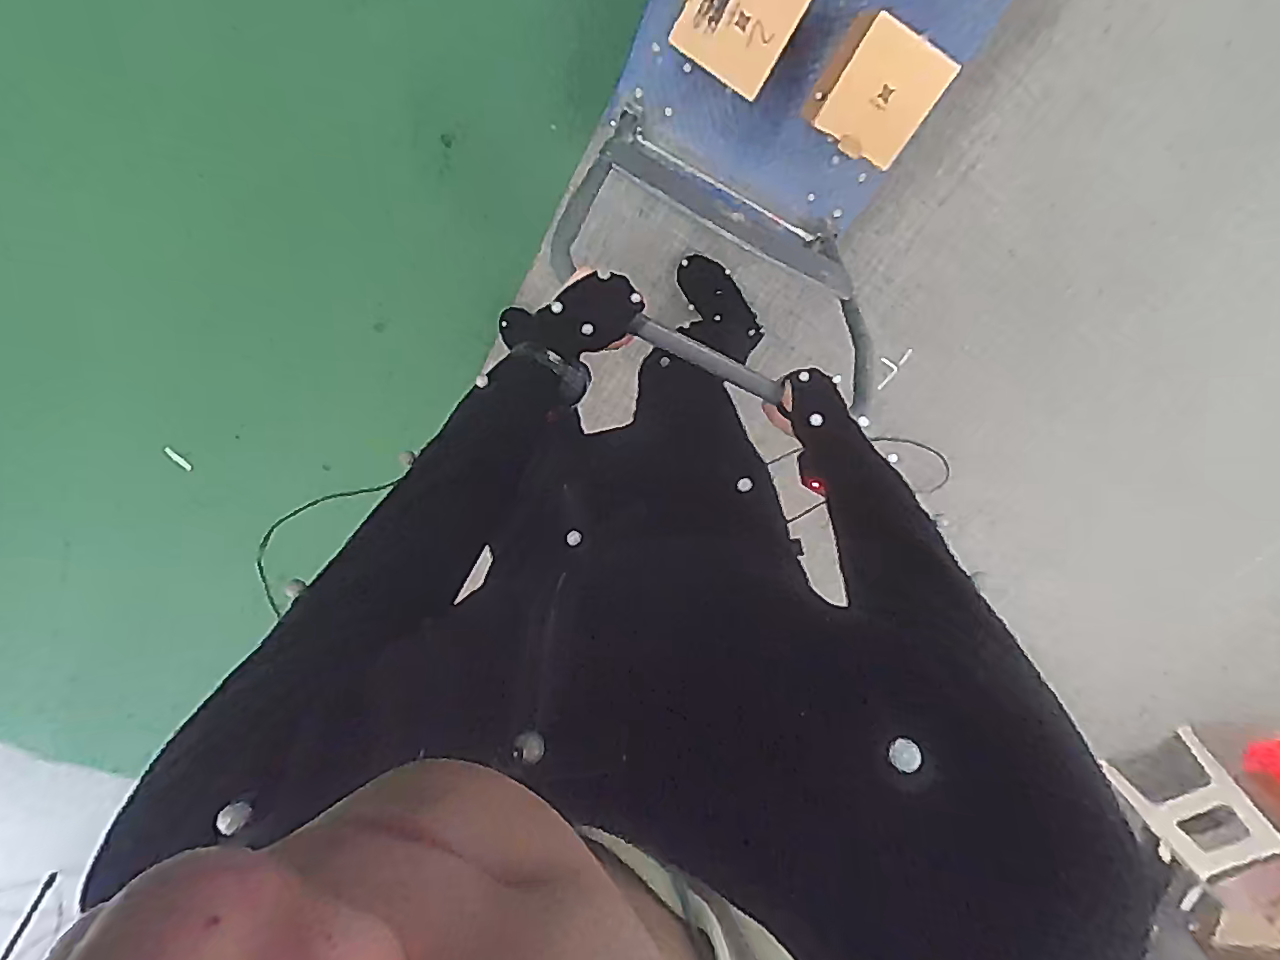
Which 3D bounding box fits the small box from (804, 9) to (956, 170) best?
[{"bbox_3d":[0.419,-0.709,0.980,0.168,0.176,0.179,24,131,-14],"label":"small box"}]
